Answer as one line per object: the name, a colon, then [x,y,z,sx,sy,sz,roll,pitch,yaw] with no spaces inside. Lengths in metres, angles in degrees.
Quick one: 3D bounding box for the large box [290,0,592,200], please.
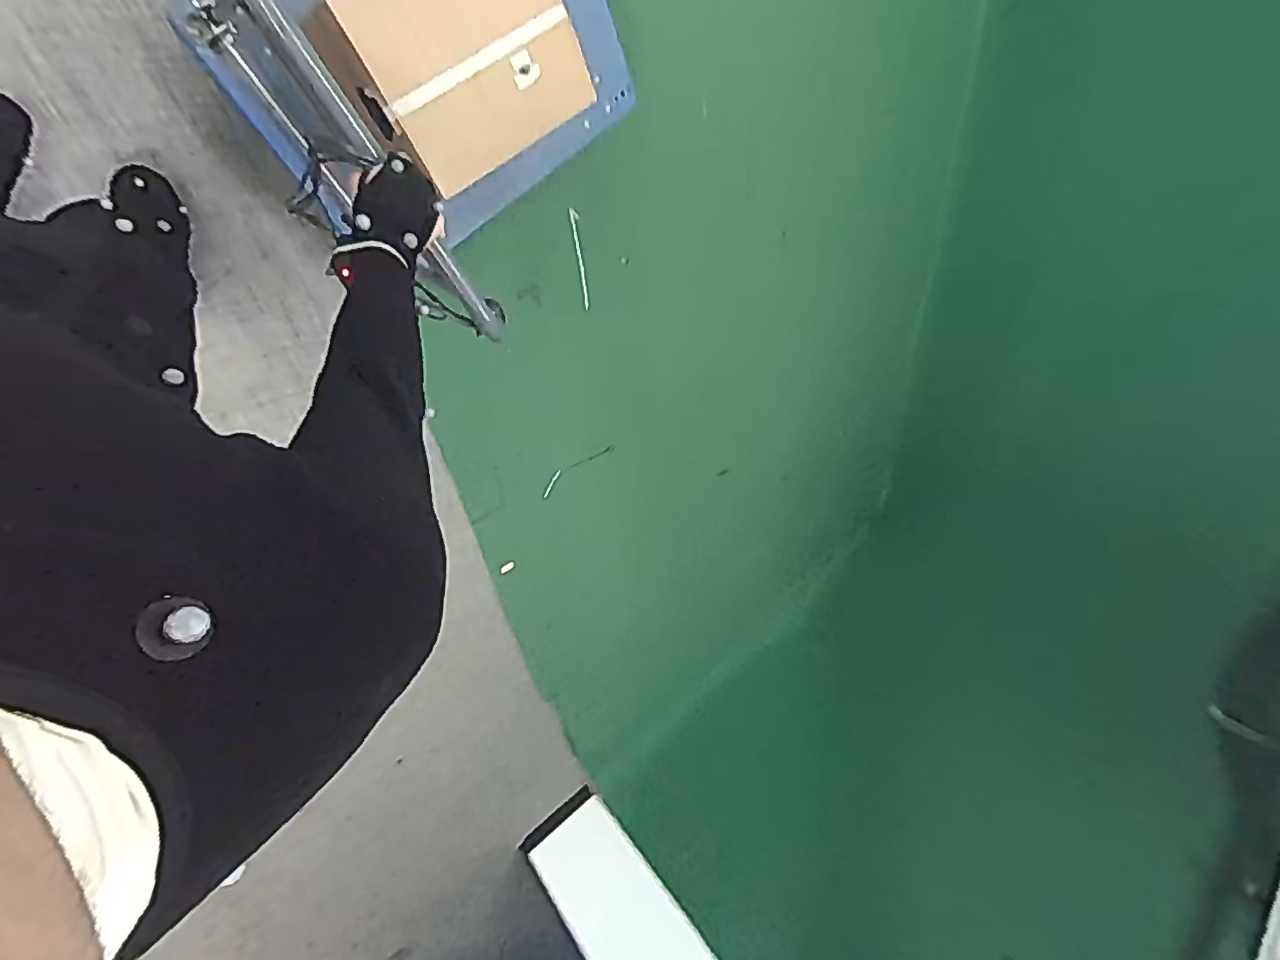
large box: [-0.381,-0.809,1.067,0.408,0.320,0.320,-44,136,-16]
